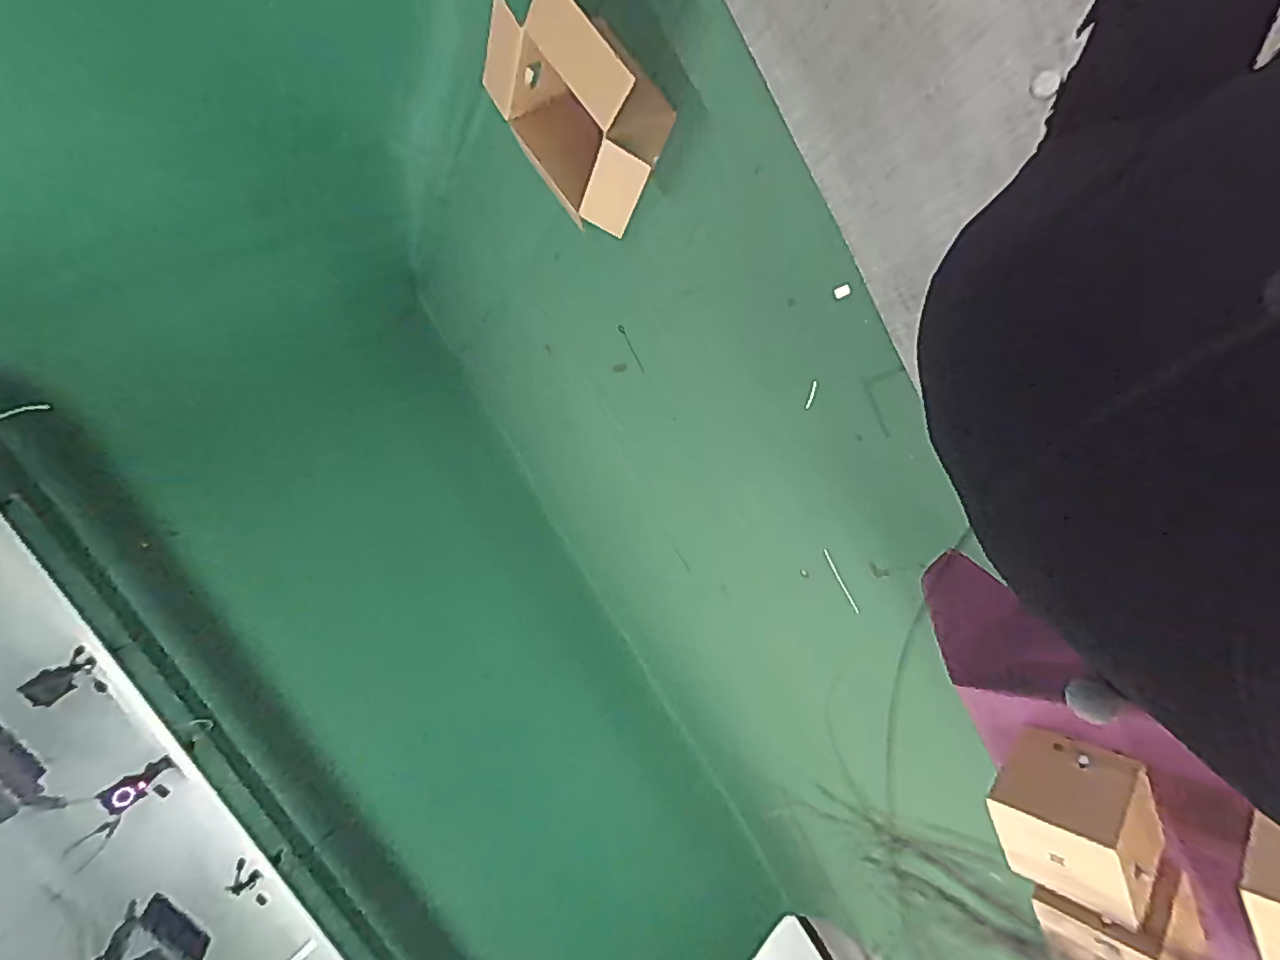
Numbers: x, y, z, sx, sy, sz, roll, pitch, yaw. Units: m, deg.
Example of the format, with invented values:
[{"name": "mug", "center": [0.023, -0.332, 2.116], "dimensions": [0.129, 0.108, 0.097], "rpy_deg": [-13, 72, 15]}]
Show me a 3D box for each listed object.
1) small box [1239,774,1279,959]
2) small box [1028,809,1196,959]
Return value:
[{"name": "small box", "center": [0.842, 0.489, 0.629], "dimensions": [0.168, 0.176, 0.179], "rpy_deg": [-9, 113, 57]}, {"name": "small box", "center": [0.803, 0.716, 0.918], "dimensions": [0.168, 0.176, 0.179], "rpy_deg": [-6, 116, 56]}]
